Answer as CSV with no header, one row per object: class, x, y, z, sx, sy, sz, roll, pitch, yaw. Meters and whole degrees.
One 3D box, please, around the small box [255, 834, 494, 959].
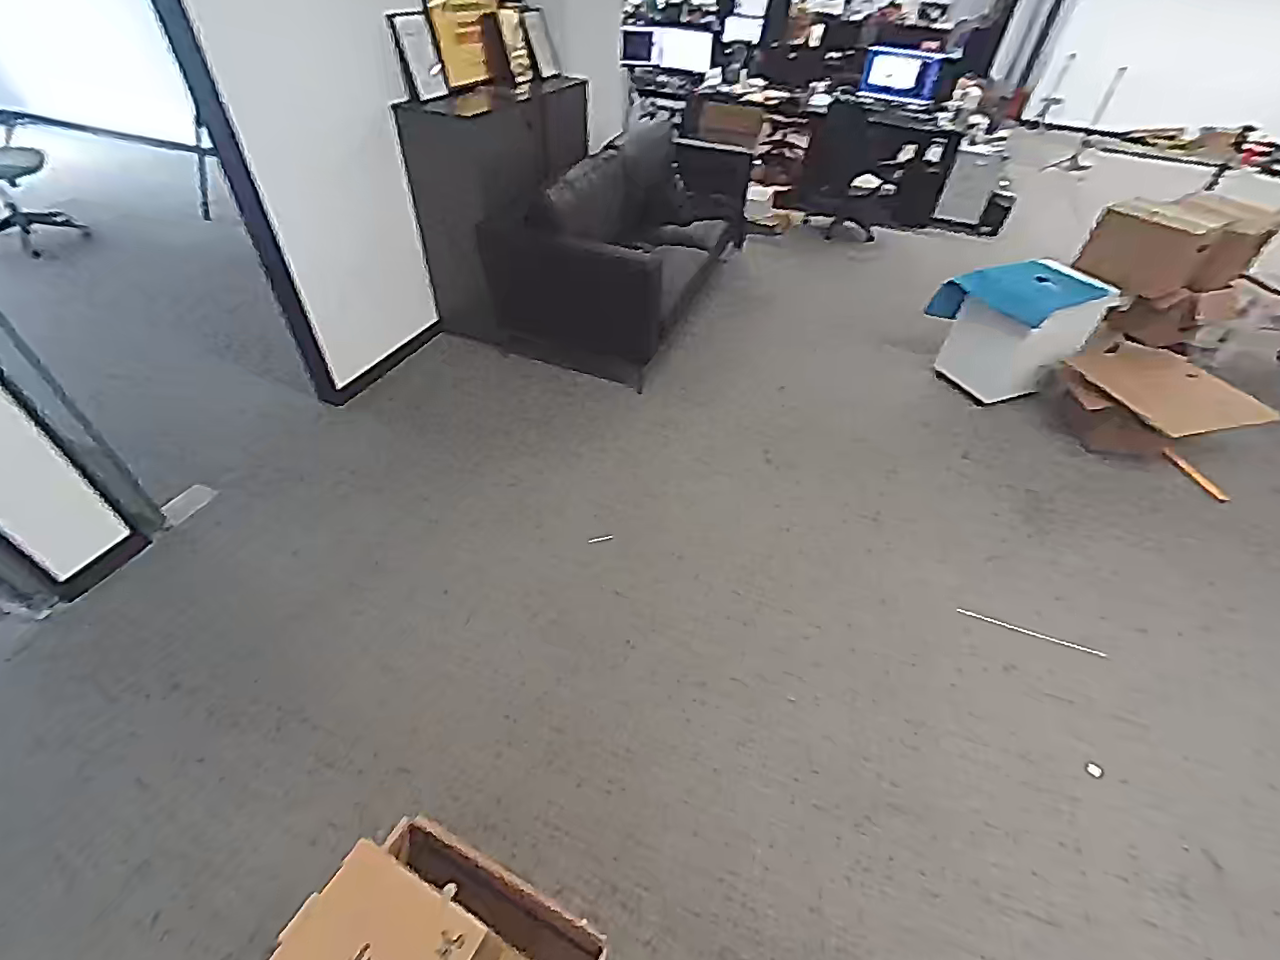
small box,-0.278,0.524,0.569,0.179,0.176,0.168,22,46,18
